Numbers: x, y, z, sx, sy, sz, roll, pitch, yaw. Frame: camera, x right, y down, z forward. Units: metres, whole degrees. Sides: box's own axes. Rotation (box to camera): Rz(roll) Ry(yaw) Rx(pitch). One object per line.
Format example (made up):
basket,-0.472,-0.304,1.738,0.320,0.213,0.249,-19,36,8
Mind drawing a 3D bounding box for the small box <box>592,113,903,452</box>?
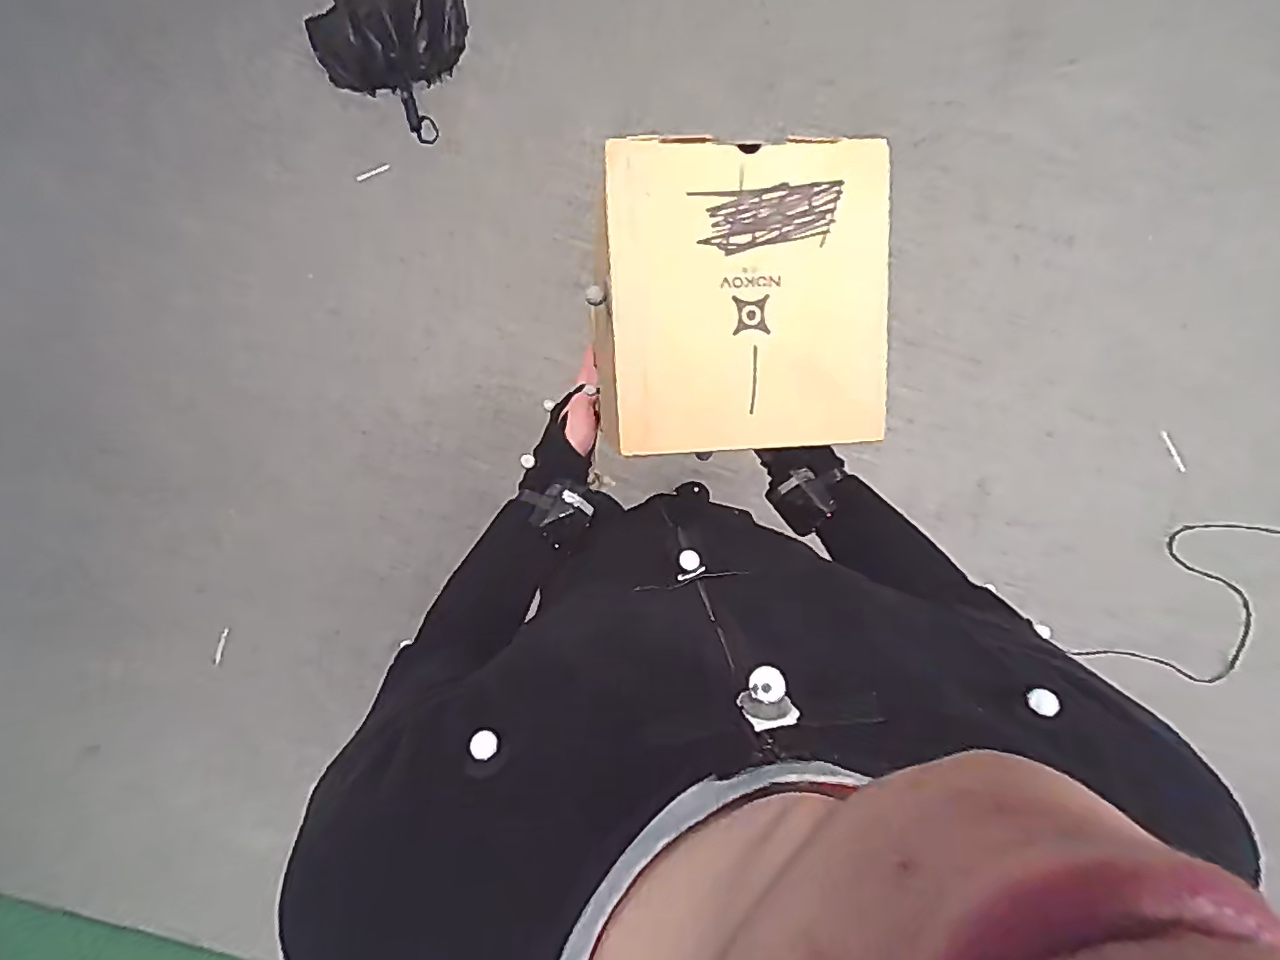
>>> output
small box,0.054,-0.115,0.373,0.168,0.176,0.179,-3,99,-6
